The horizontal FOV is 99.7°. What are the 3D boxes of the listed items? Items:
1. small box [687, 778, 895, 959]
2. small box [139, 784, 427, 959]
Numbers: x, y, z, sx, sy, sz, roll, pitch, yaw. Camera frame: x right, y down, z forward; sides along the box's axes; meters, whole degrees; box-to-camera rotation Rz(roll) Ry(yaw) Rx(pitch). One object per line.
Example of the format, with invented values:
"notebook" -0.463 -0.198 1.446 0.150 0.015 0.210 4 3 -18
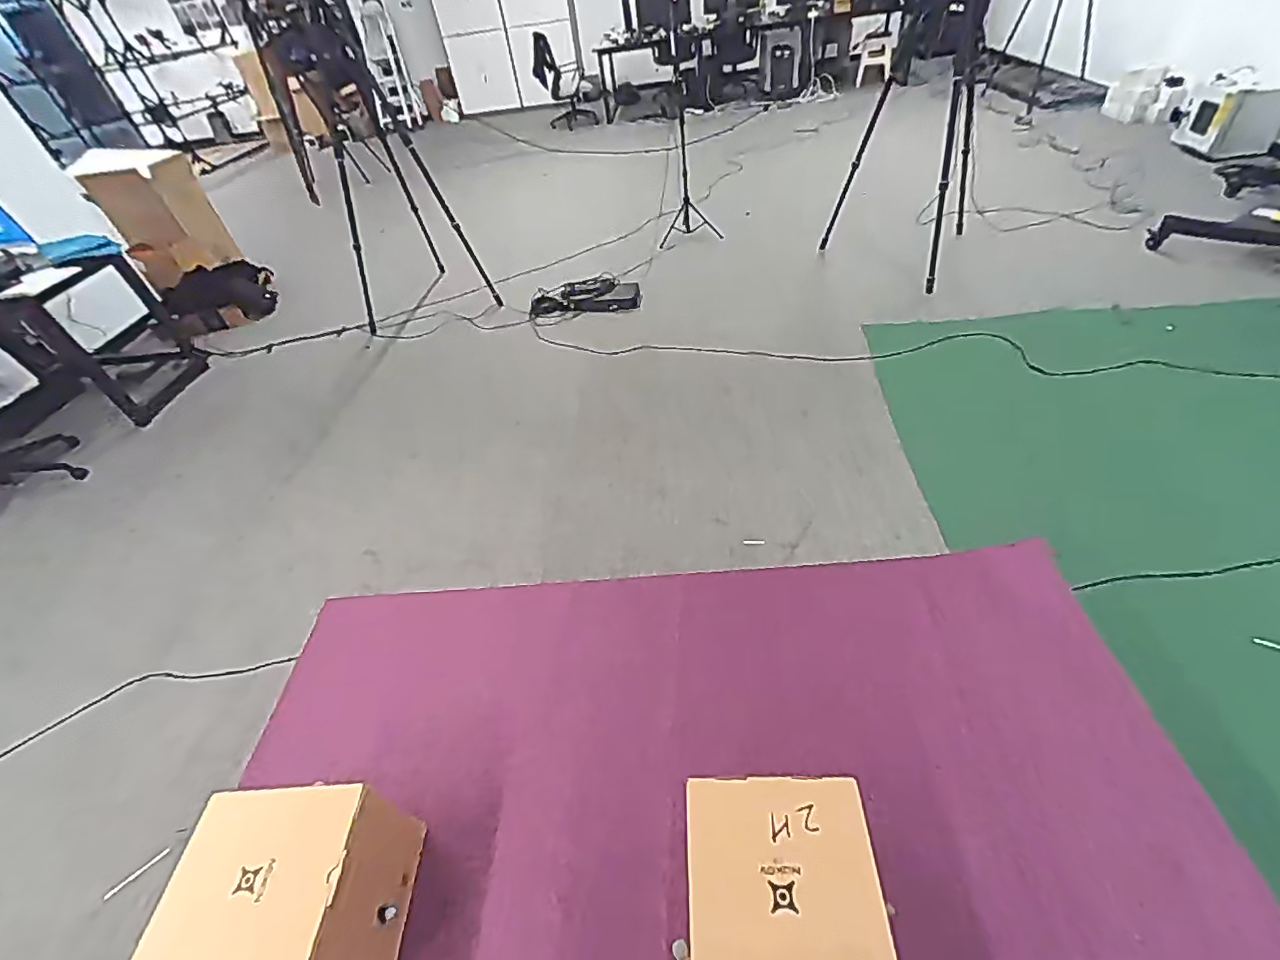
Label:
"small box" 0.136 0.411 0.524 0.168 0.176 0.179 -5 44 7
"small box" -0.363 0.450 0.584 0.179 0.176 0.168 -6 43 4
